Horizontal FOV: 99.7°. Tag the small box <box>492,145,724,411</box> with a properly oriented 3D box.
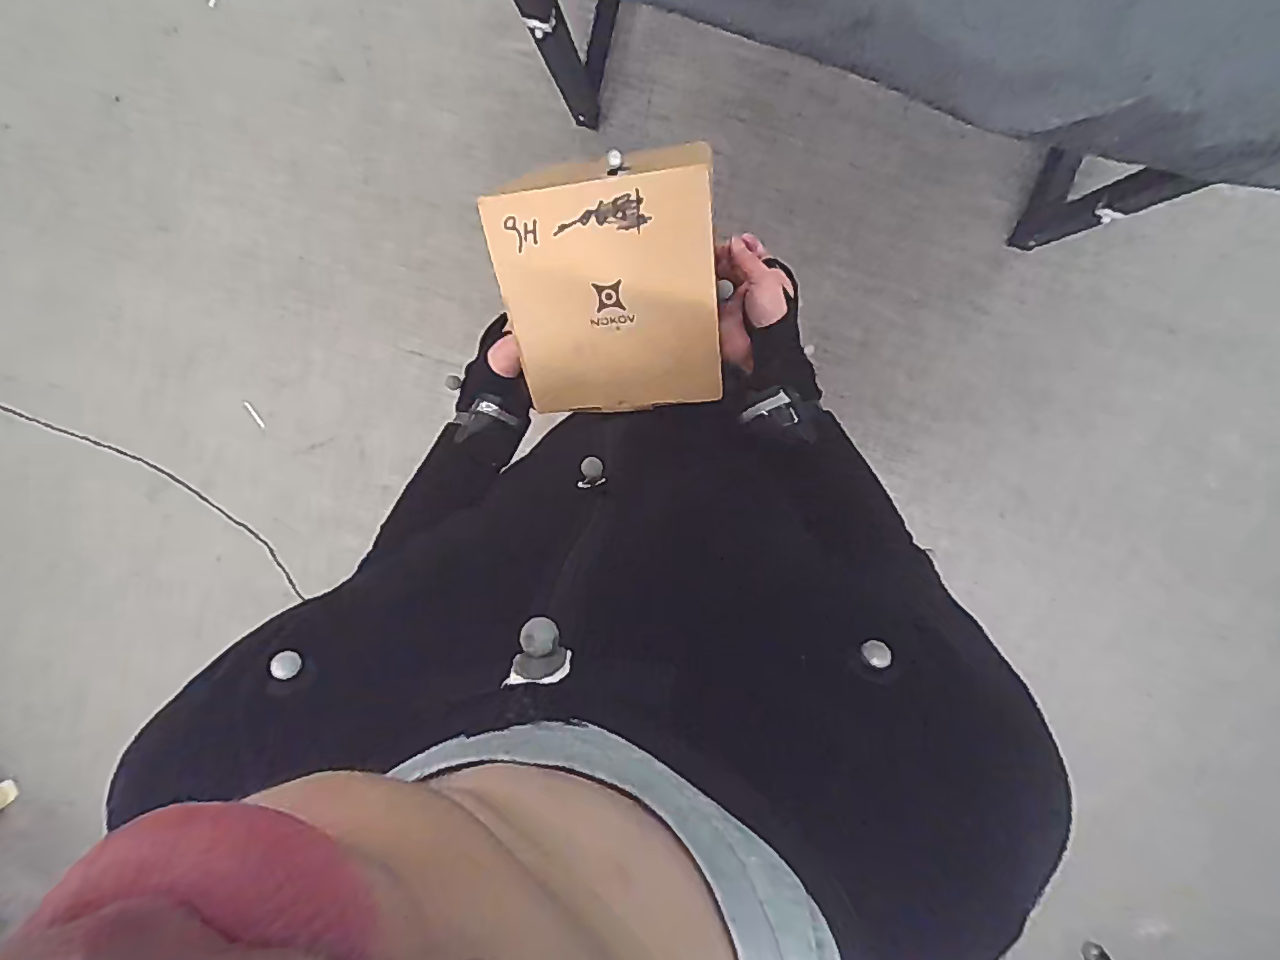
[{"bbox_3d":[-0.009,-0.184,0.492,0.168,0.176,0.179,-4,127,9],"label":"small box"}]
